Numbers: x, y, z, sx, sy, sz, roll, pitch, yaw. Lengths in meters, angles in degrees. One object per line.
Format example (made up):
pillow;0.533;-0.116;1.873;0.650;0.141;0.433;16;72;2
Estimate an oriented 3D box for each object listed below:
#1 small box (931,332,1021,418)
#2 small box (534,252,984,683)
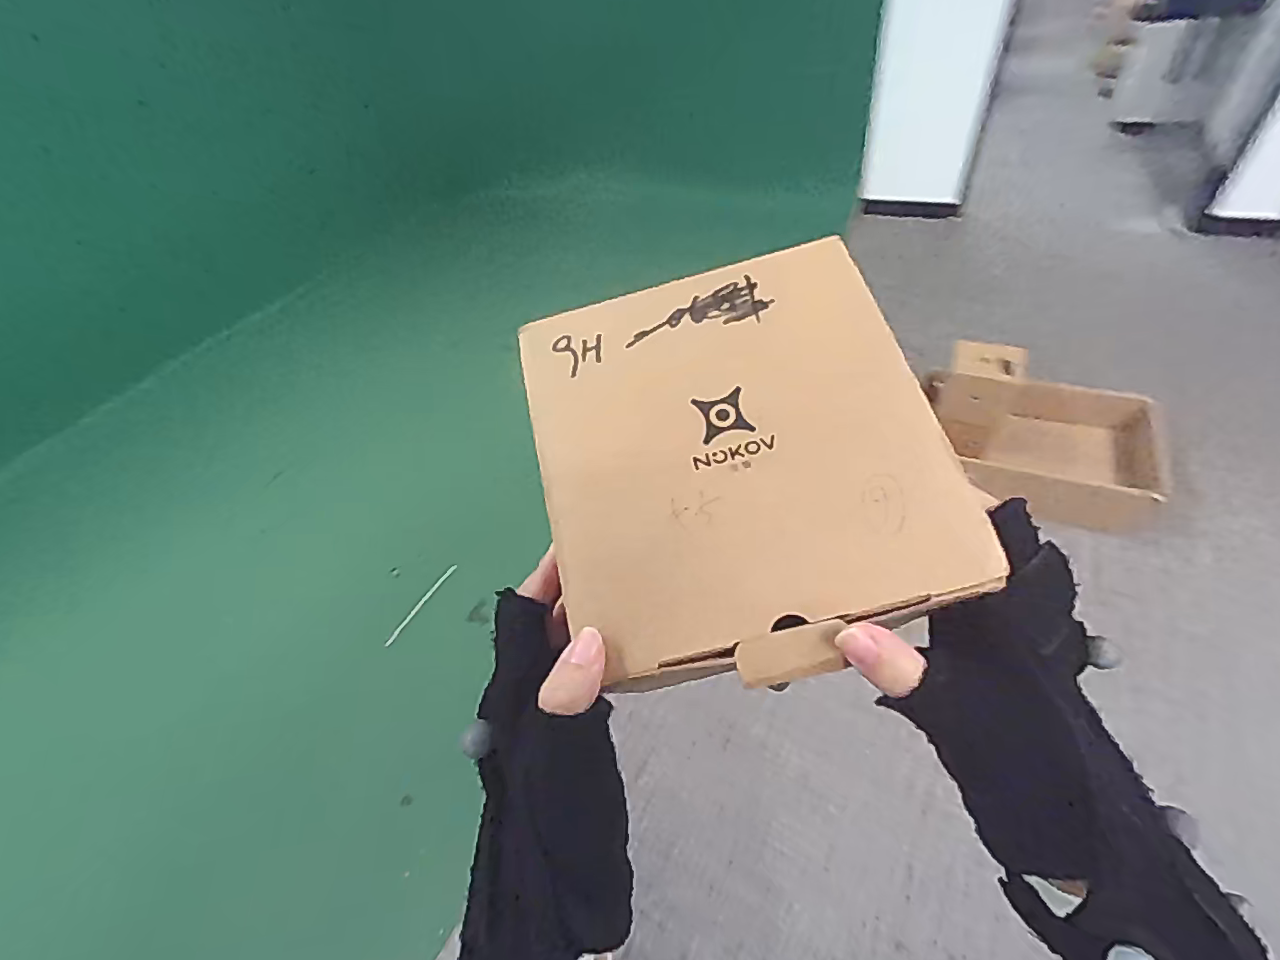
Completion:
small box;0.978;-0.304;1.581;0.179;0.176;0.168;15;54;23
small box;0.053;0.010;0.321;0.168;0.176;0.179;-15;69;3
